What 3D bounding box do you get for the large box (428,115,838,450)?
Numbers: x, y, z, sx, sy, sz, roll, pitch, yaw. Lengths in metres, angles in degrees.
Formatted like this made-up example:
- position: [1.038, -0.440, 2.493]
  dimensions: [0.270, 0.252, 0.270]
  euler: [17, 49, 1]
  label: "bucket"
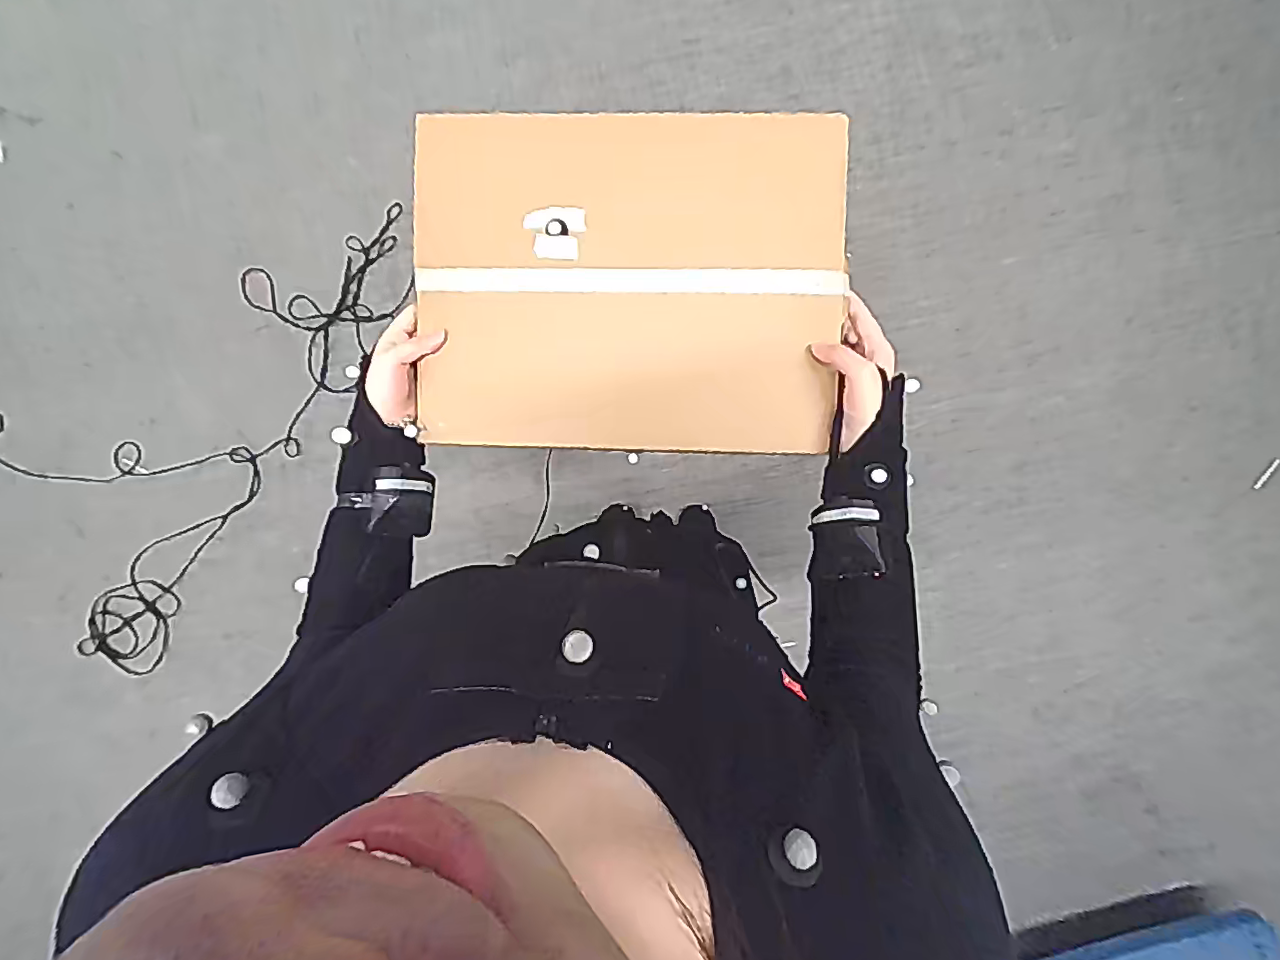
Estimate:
- position: [0.001, -0.199, 0.674]
  dimensions: [0.408, 0.320, 0.320]
  euler: [1, 94, 4]
  label: "large box"
